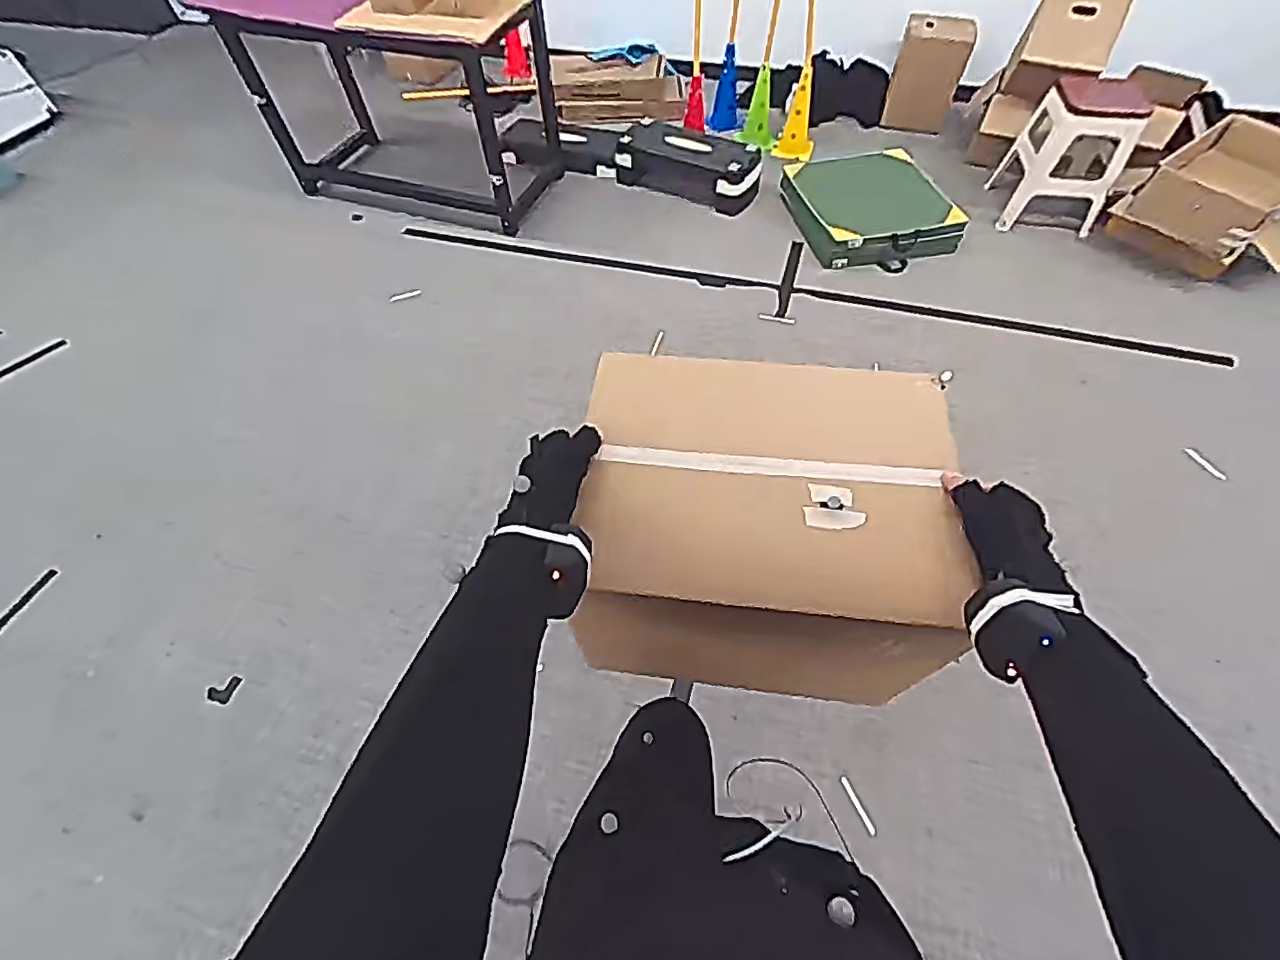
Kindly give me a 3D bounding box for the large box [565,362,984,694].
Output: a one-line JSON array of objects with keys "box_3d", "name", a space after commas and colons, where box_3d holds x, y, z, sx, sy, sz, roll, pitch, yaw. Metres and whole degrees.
[{"box_3d": [0.142, 0.072, 0.717, 0.408, 0.320, 0.320, 5, 58, 6], "name": "large box"}]
